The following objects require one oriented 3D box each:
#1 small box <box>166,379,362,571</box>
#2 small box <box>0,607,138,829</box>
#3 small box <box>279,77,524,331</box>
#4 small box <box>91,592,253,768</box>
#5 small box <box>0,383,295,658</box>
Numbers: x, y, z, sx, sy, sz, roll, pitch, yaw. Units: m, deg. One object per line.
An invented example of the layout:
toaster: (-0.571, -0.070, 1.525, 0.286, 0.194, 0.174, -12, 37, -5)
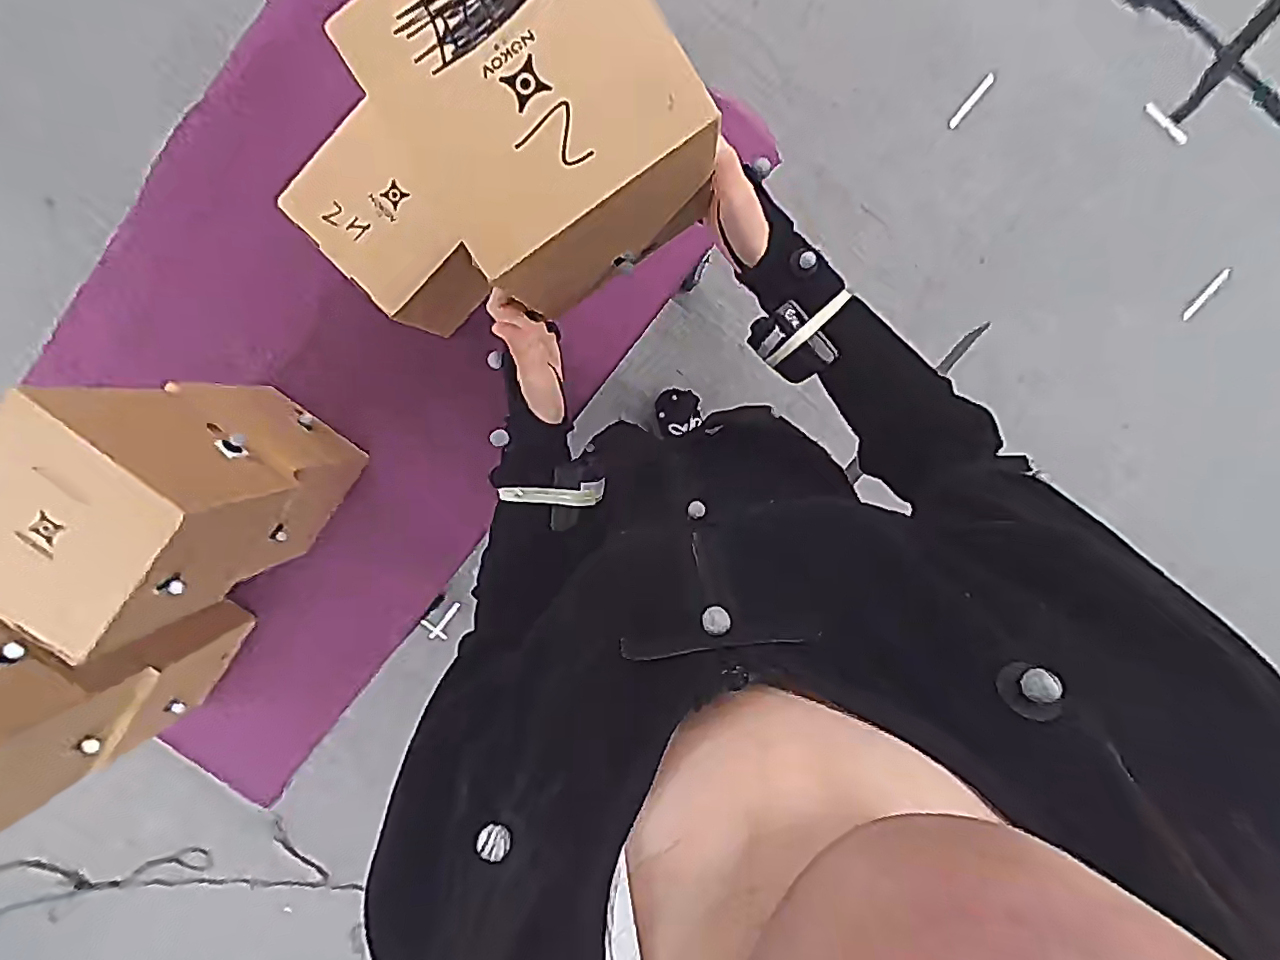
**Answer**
small box: (-0.494, -0.004, 0.682, 0.168, 0.176, 0.179, 37, 95, -5)
small box: (-0.685, 0.249, 0.556, 0.168, 0.176, 0.179, 33, 96, -3)
small box: (-0.257, -0.301, 0.636, 0.179, 0.176, 0.168, -44, 95, 7)
small box: (-0.674, 0.226, 0.718, 0.179, 0.176, 0.168, 35, 97, -4)
small box: (-0.486, 0.027, 0.523, 0.168, 0.176, 0.179, 39, 95, -6)
